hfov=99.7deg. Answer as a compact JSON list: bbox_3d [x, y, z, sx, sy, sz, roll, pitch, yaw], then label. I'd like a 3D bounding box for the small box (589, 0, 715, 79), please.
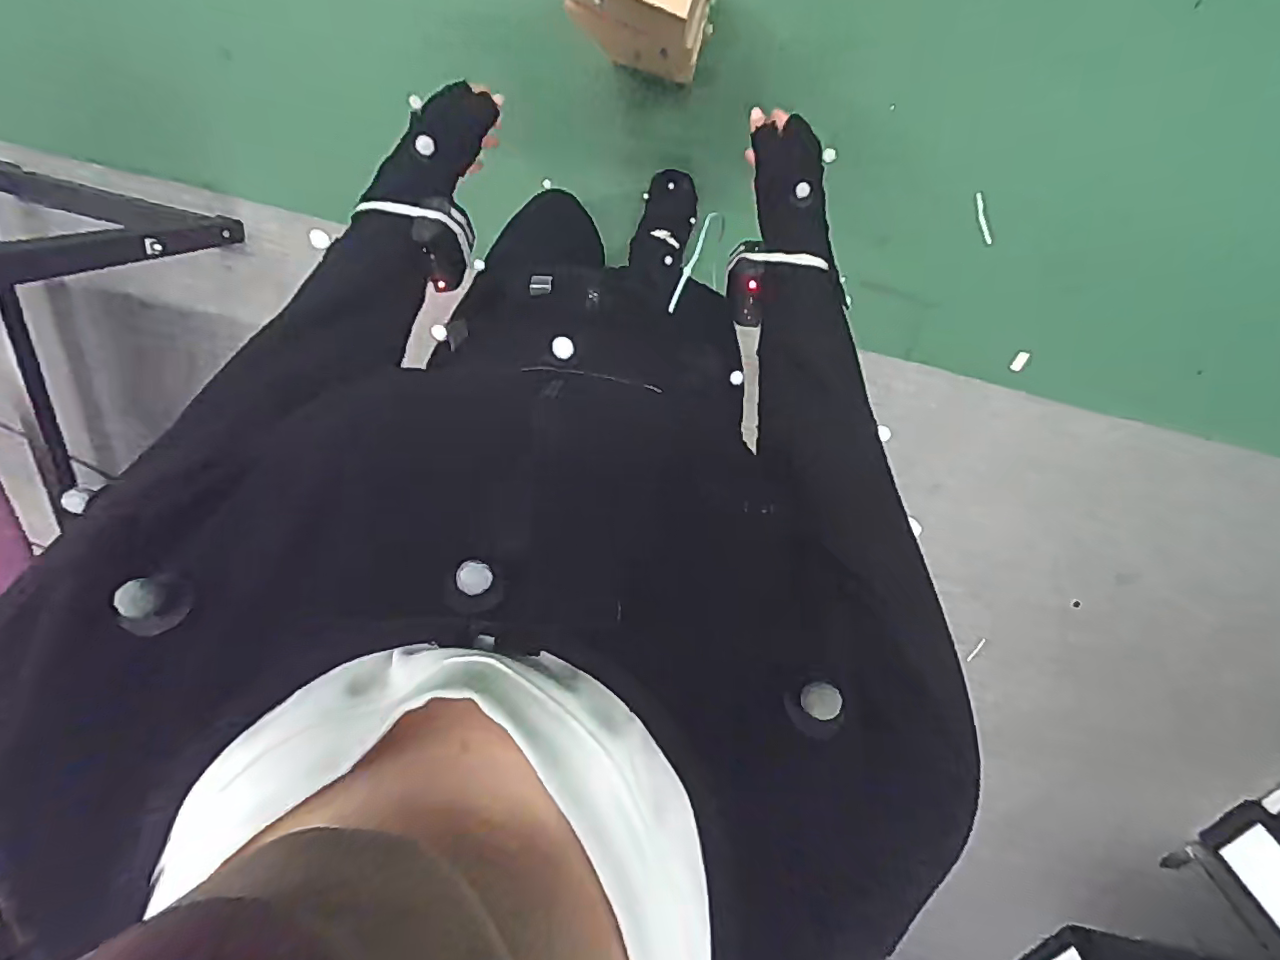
[{"bbox_3d":[0.029,-0.773,0.872,0.179,0.176,0.168,15,120,-5],"label":"small box"}]

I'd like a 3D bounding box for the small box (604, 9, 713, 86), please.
[{"bbox_3d":[0.038,-0.861,1.009,0.179,0.176,0.168,14,120,-5],"label":"small box"}]

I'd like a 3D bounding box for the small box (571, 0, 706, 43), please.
[{"bbox_3d":[0.003,-0.612,0.586,0.179,0.176,0.168,17,120,-5],"label":"small box"}]
